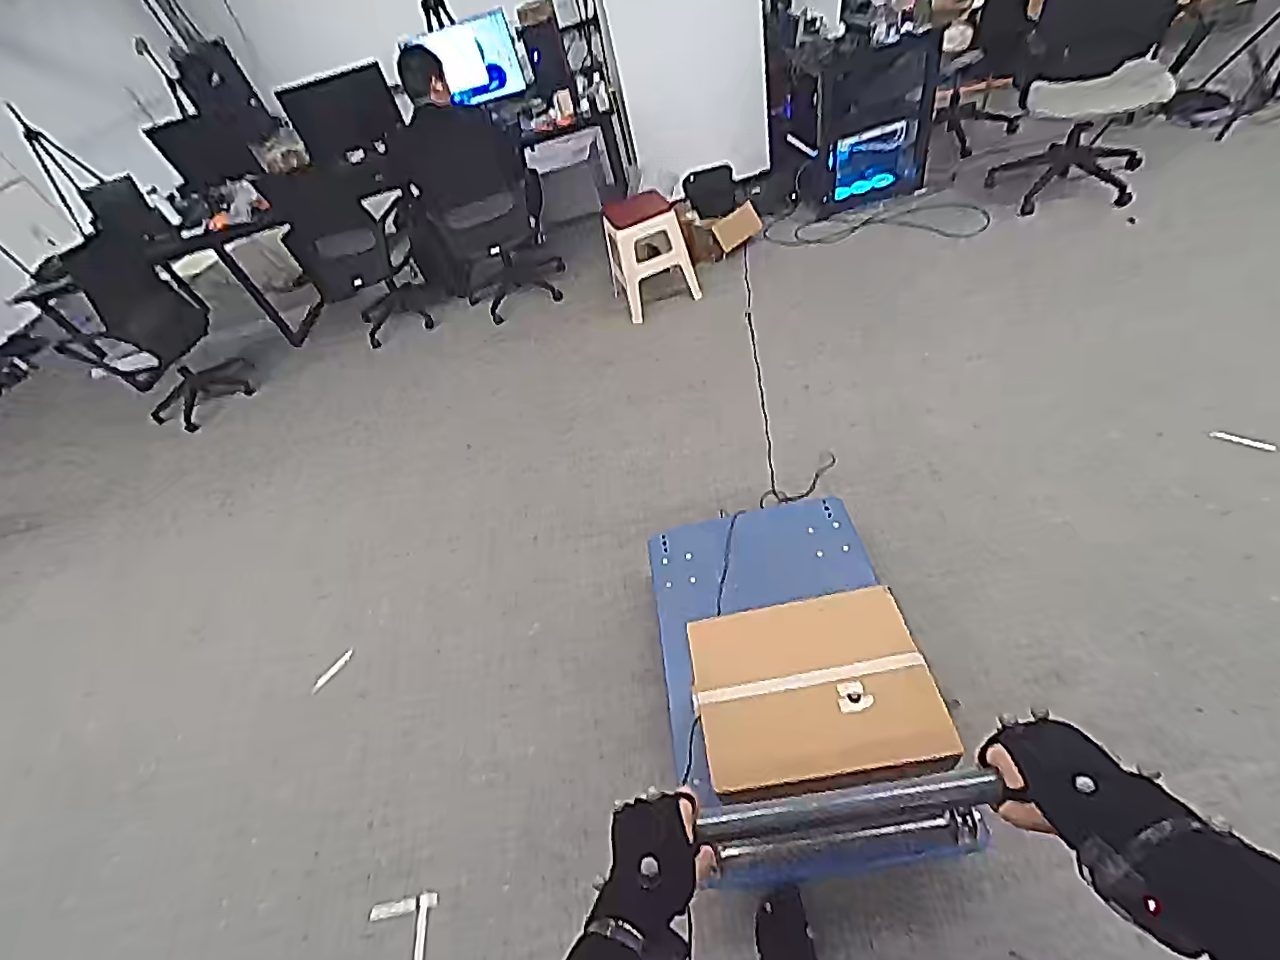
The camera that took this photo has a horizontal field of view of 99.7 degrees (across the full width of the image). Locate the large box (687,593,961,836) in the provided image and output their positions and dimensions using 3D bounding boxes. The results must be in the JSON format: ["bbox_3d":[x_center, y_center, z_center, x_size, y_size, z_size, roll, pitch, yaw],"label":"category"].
[{"bbox_3d":[0.331,0.472,1.073,0.408,0.320,0.320,-12,47,6],"label":"large box"}]
